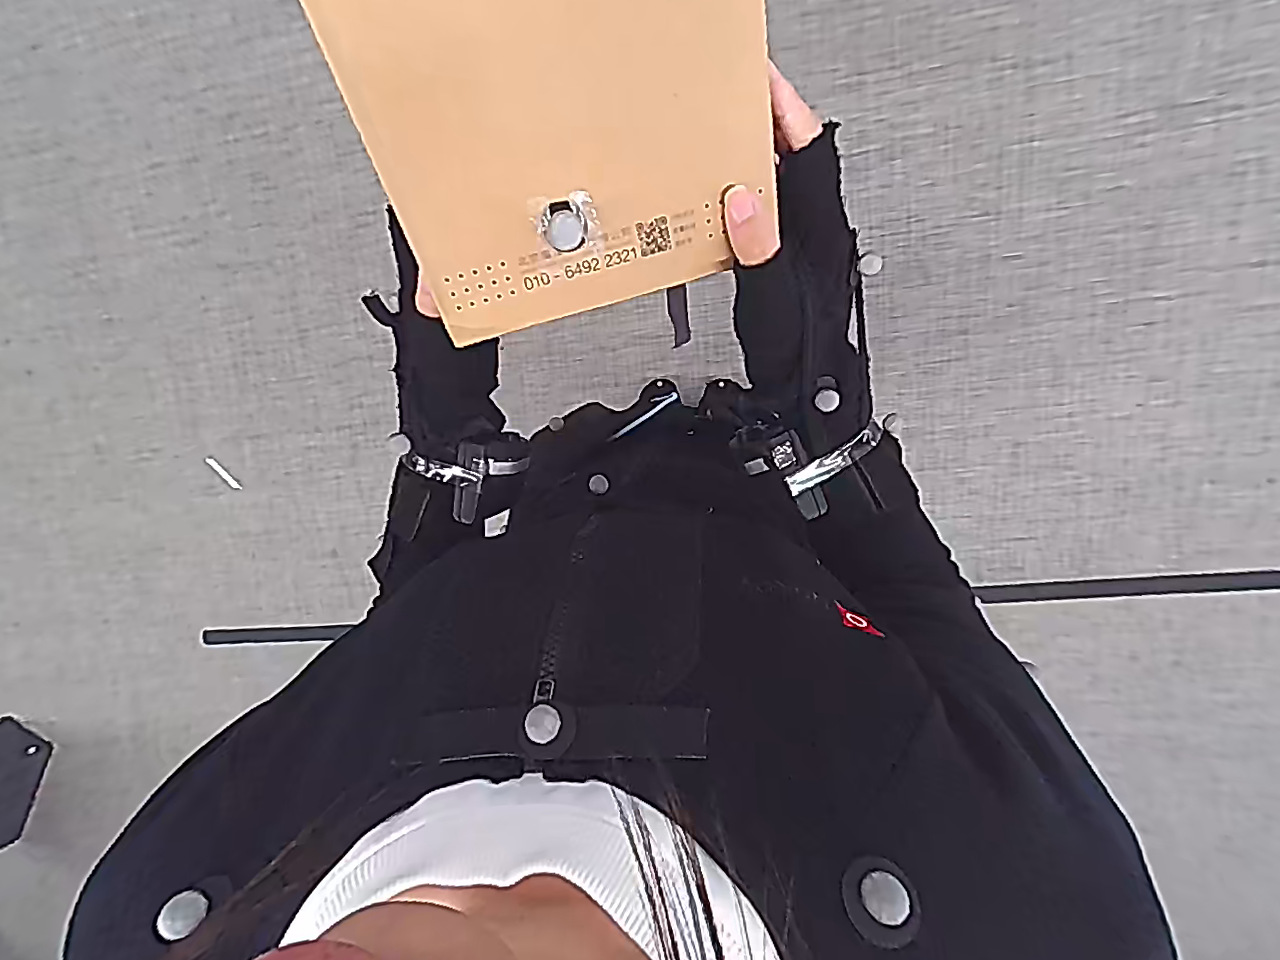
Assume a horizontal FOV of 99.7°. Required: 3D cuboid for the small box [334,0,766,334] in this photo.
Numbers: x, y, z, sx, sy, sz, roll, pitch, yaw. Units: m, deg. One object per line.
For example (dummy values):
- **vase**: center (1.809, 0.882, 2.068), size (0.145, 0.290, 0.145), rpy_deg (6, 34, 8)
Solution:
- **small box**: center (-0.042, -0.200, 0.297), size (0.168, 0.179, 0.176), rpy_deg (-18, 126, -2)
